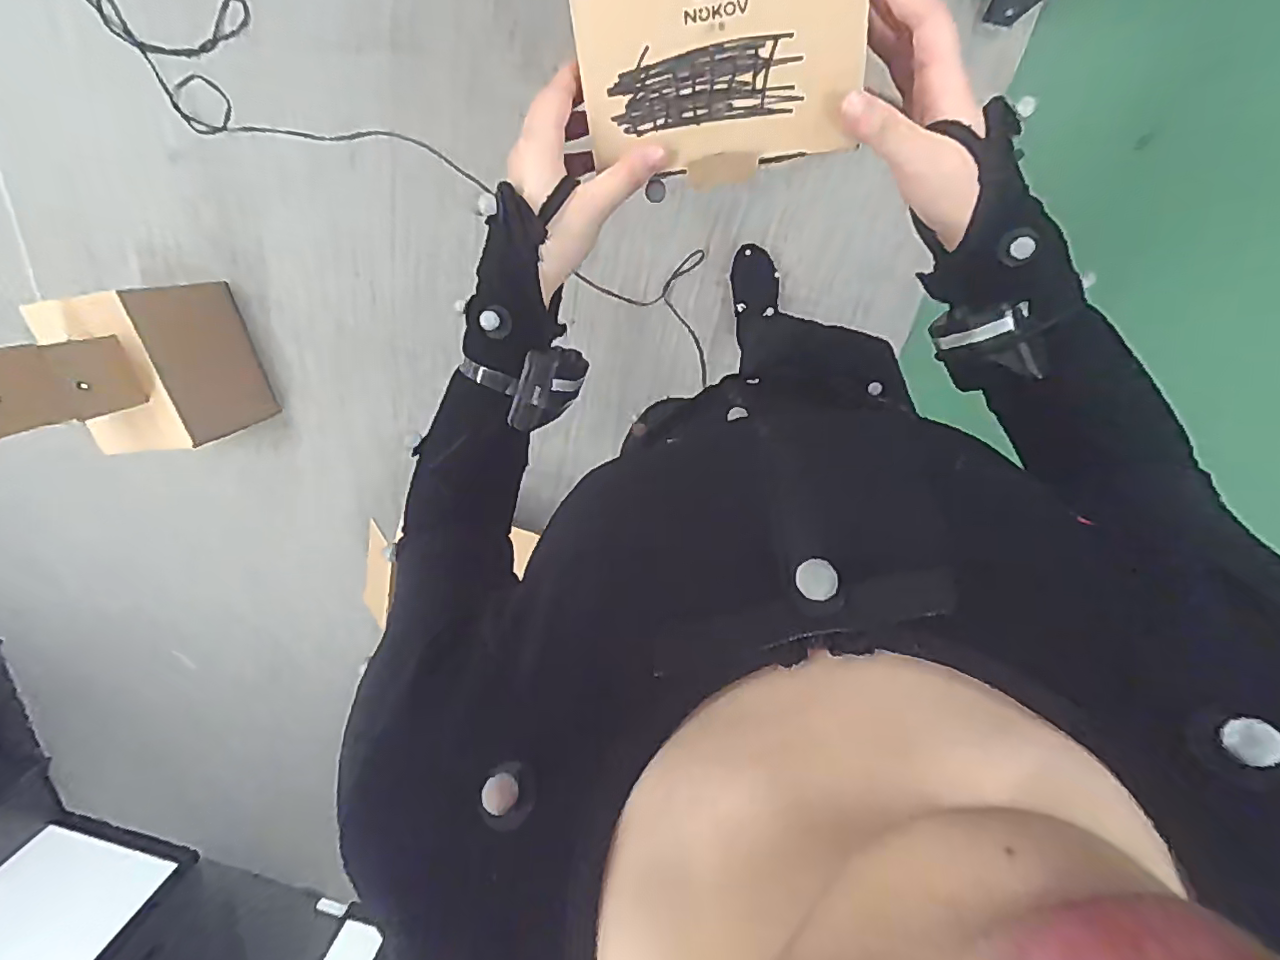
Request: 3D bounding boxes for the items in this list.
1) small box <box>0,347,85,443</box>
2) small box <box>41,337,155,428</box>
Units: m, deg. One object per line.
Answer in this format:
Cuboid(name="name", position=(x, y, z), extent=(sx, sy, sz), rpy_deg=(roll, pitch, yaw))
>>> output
Cuboid(name="small box", position=(-1.375, -0.184, 1.158), extent=(0.168, 0.176, 0.179), rpy_deg=(-3, 114, 11))
Cuboid(name="small box", position=(-1.347, -0.237, 1.309), extent=(0.168, 0.176, 0.179), rpy_deg=(-4, 113, 11))
